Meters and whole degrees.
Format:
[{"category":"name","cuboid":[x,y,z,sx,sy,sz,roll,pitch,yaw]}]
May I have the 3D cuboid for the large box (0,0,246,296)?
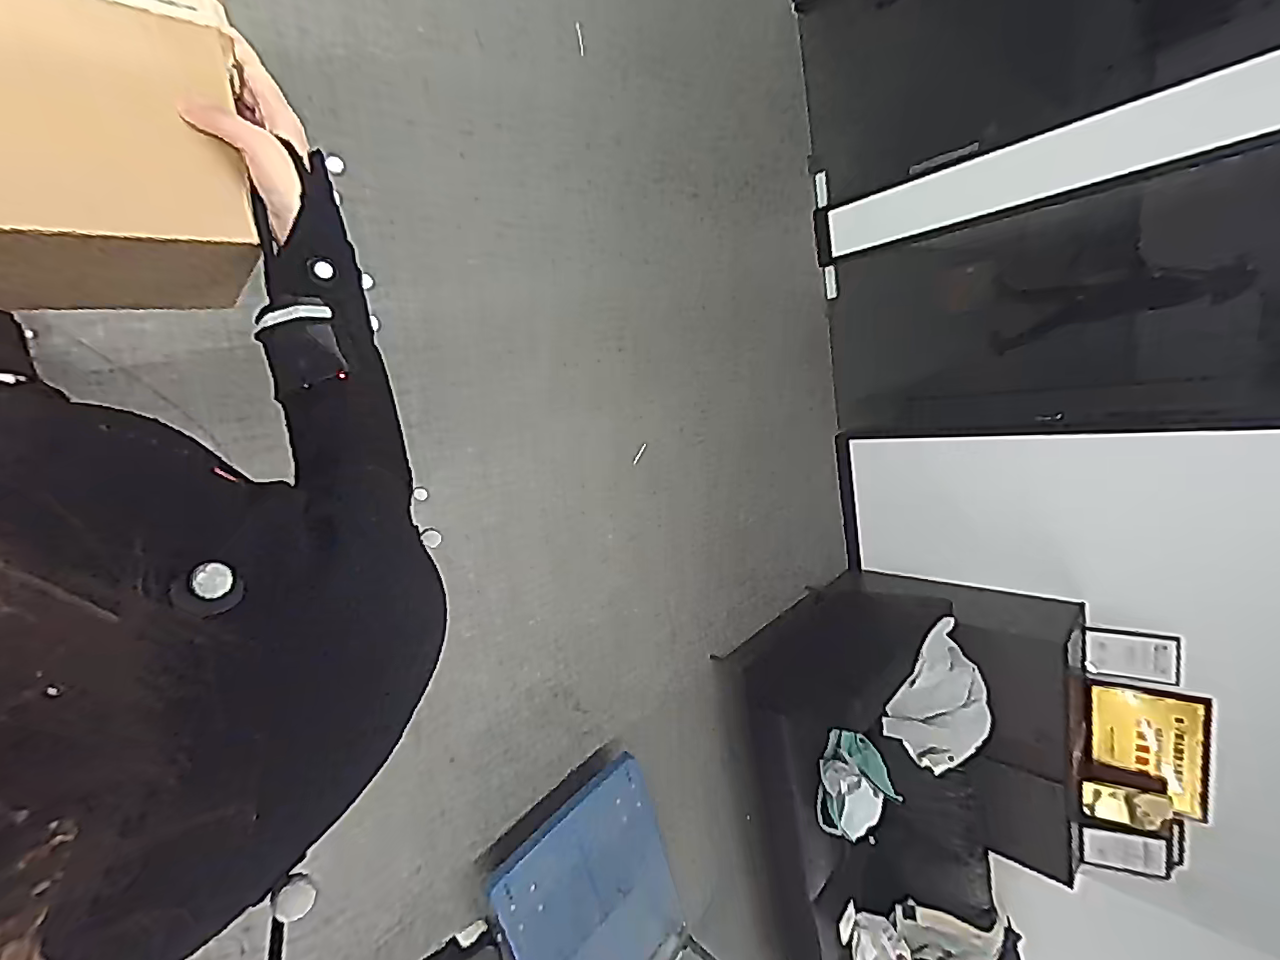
[{"category":"large box","cuboid":[-0.572,-0.313,0.389,0.408,0.320,0.320,-15,104,-38]}]
